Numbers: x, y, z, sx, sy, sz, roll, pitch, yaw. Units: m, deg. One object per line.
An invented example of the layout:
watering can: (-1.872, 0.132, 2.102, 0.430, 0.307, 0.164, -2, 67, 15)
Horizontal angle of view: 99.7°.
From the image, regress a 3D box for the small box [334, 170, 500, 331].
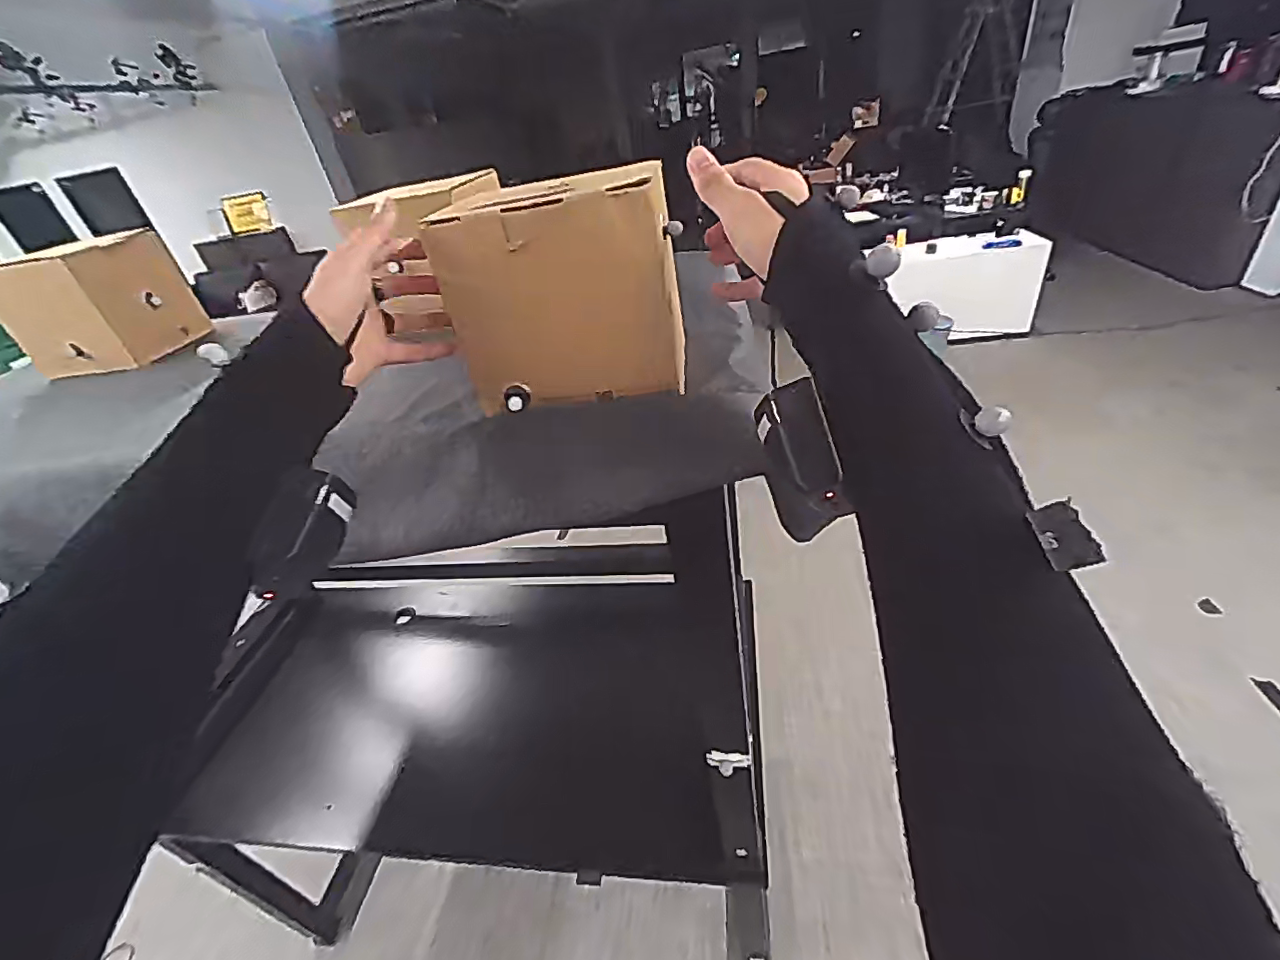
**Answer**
small box: (-0.277, -0.318, 0.763, 0.168, 0.176, 0.179, -4, 35, 10)

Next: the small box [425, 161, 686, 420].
small box: (-0.050, -0.160, 0.471, 0.168, 0.176, 0.179, -5, 34, 9)

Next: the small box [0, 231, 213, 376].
small box: (-0.845, -0.278, 0.858, 0.179, 0.176, 0.168, -4, 35, 8)
